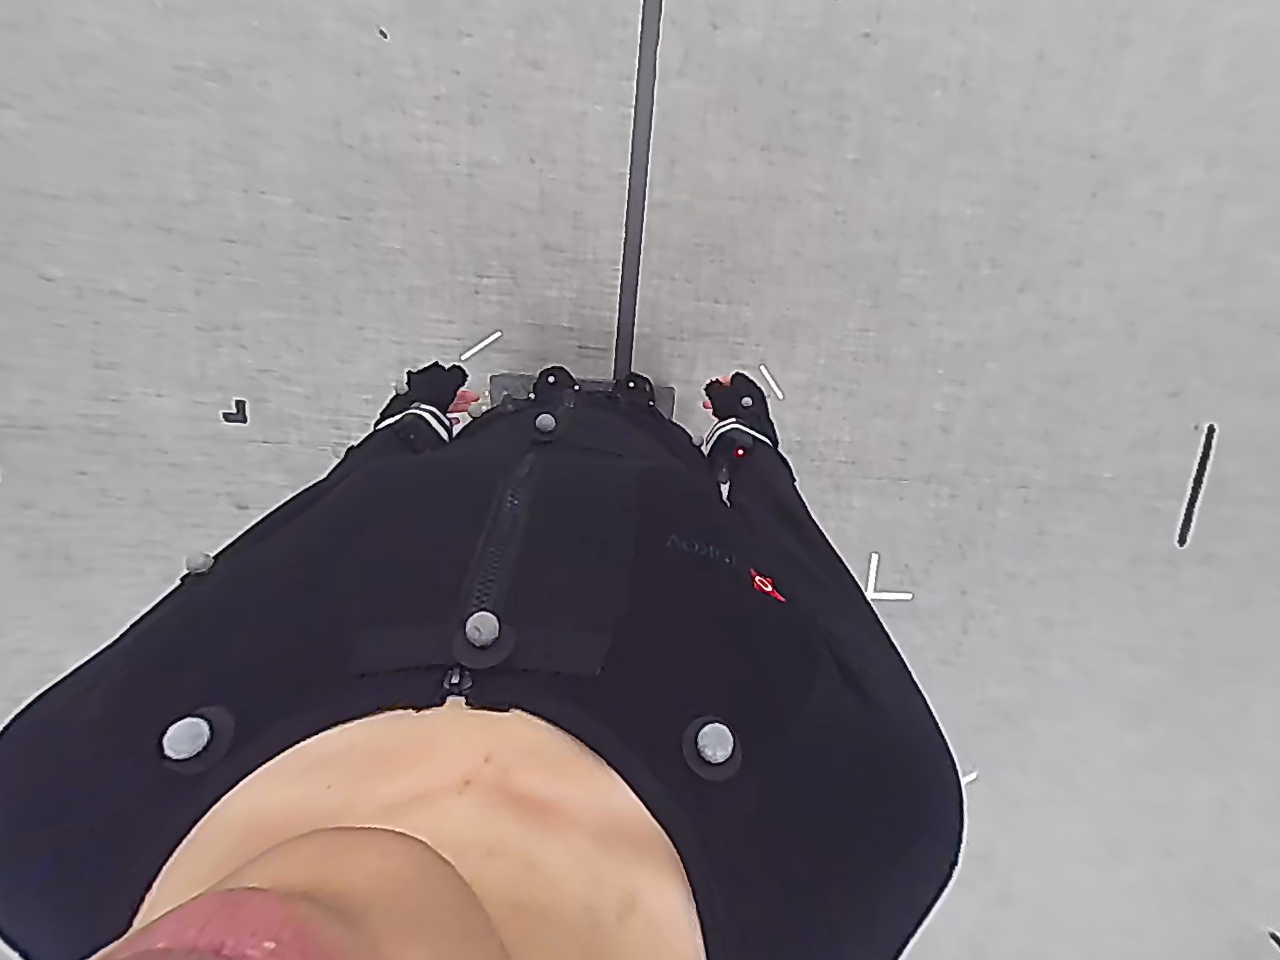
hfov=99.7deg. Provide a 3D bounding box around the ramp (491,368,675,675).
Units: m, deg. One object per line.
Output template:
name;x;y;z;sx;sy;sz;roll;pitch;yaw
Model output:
ramp;-0.178;0.178;1.606;0.509;0.206;0.991;2;102;-3
